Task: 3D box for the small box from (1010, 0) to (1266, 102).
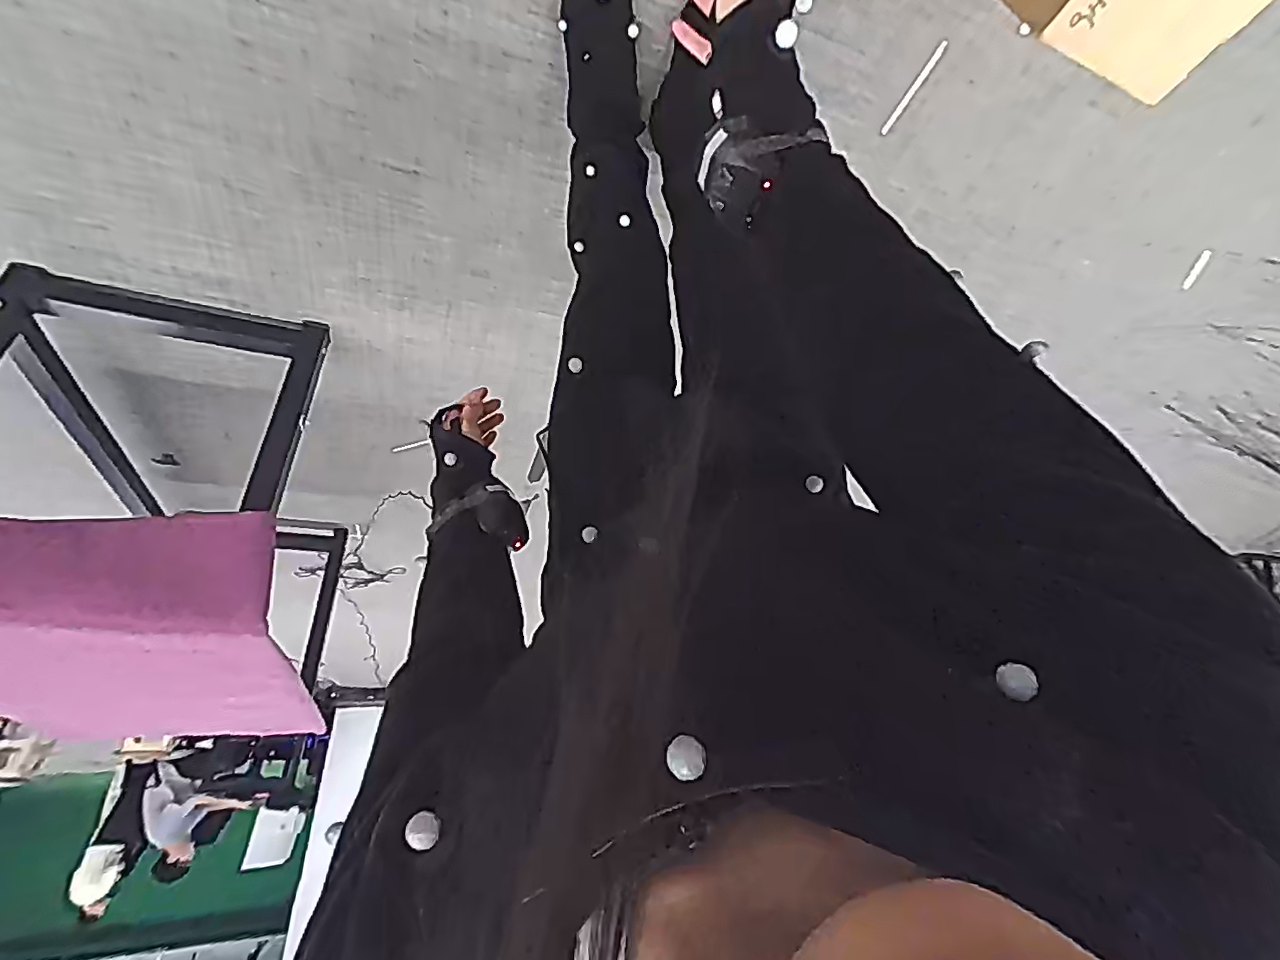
[{"bbox_3d":[0.449,-0.488,0.475,0.179,0.176,0.168,6,148,-22],"label":"small box"}]
